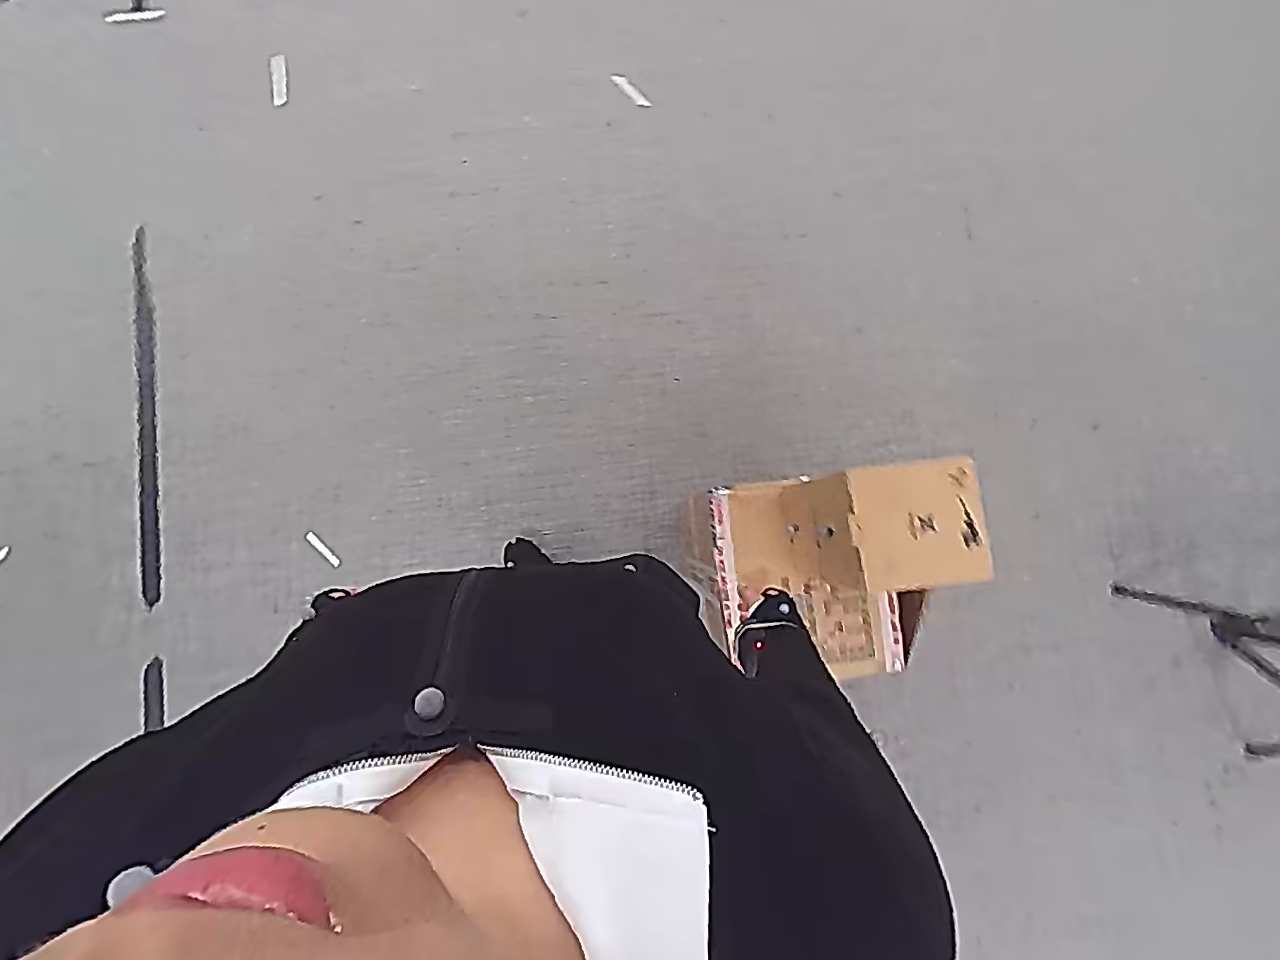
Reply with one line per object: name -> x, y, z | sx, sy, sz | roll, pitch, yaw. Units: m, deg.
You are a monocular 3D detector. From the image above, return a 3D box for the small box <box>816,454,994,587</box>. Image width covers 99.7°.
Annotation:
small box -> 0.370, 0.063, 0.792 | 0.179, 0.176, 0.168 | -6, 84, 0

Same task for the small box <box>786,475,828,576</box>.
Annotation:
small box -> 0.376, 0.073, 0.956 | 0.179, 0.176, 0.168 | -7, 84, -1
